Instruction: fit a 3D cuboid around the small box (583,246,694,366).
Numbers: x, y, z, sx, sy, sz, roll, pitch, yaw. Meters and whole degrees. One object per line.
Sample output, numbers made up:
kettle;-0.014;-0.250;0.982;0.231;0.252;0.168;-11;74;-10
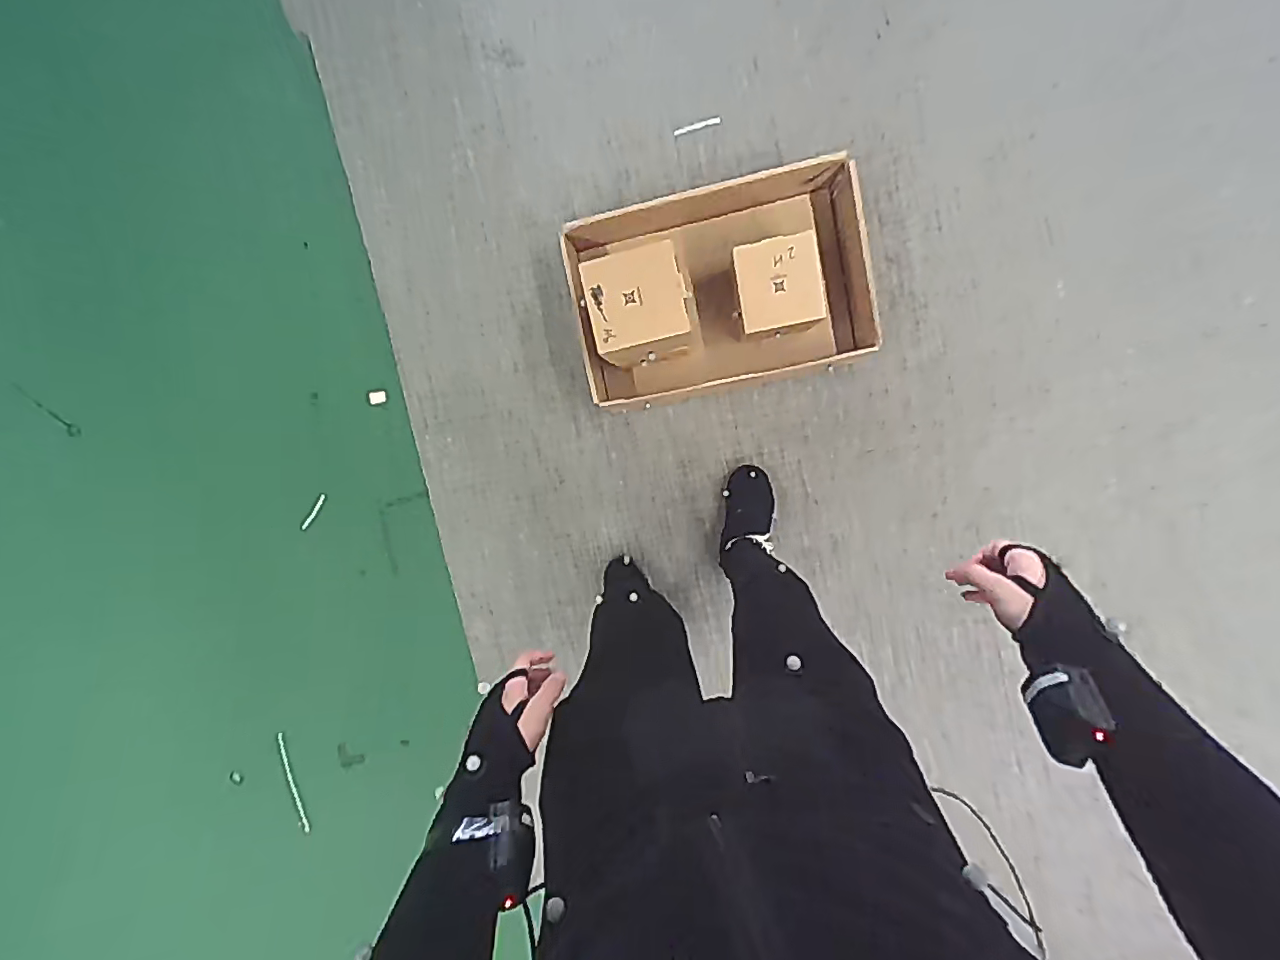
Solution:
small box;0.003;-0.325;1.043;0.179;0.176;0.168;-11;94;6

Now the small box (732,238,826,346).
small box;0.293;-0.394;1.169;0.168;0.176;0.179;-9;95;7

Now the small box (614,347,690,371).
small box;0.018;-0.344;1.205;0.168;0.176;0.179;-10;93;7
